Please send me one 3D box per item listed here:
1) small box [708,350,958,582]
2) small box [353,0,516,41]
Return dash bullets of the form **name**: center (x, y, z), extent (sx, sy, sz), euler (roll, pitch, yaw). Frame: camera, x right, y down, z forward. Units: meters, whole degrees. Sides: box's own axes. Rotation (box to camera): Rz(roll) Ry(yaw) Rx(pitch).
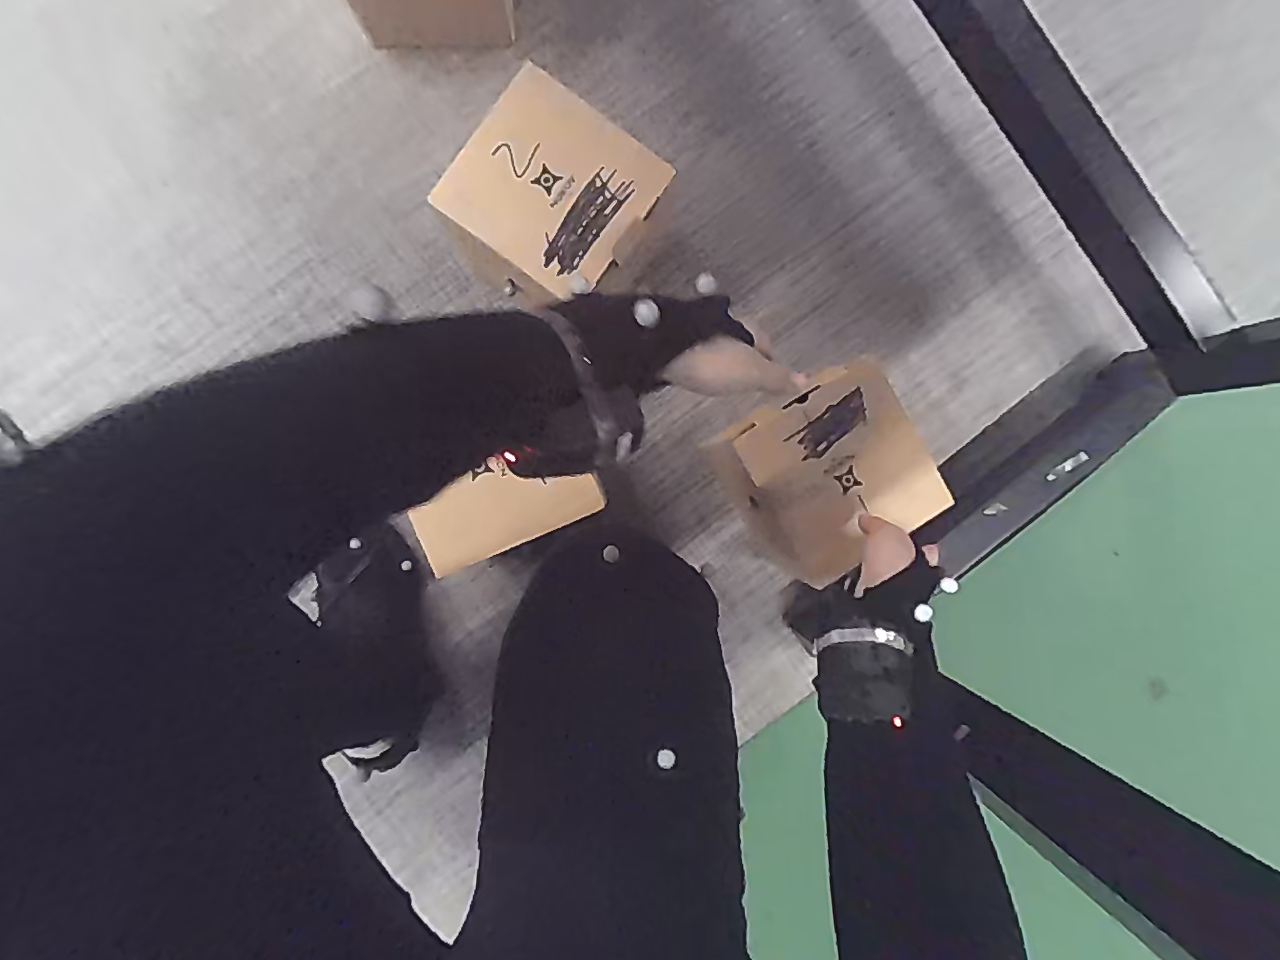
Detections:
- **small box**: center (0.195, -0.014, 0.601), extent (0.168, 0.176, 0.179), euler (-31, 93, -2)
- **small box**: center (-0.237, -0.610, 0.572), extent (0.179, 0.176, 0.168), euler (-4, 90, -4)
